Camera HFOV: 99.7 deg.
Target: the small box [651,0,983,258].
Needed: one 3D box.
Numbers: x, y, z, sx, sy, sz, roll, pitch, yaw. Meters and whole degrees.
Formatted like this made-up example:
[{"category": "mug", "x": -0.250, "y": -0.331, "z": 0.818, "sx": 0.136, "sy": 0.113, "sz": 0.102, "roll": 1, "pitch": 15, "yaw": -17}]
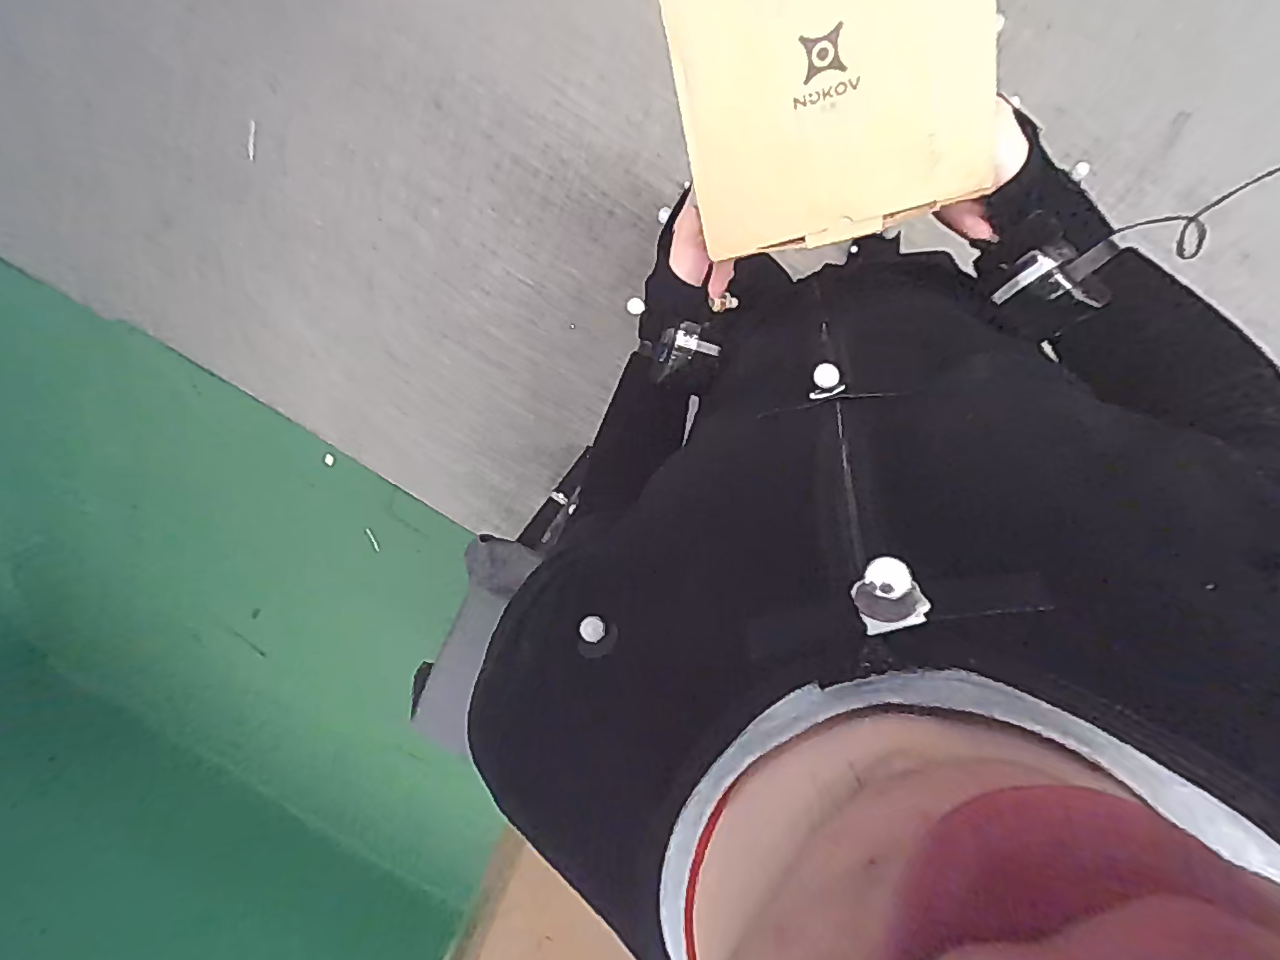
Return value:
[{"category": "small box", "x": 0.115, "y": -0.265, "z": 0.366, "sx": 0.168, "sy": 0.176, "sz": 0.179, "roll": -8, "pitch": 112, "yaw": 19}]
